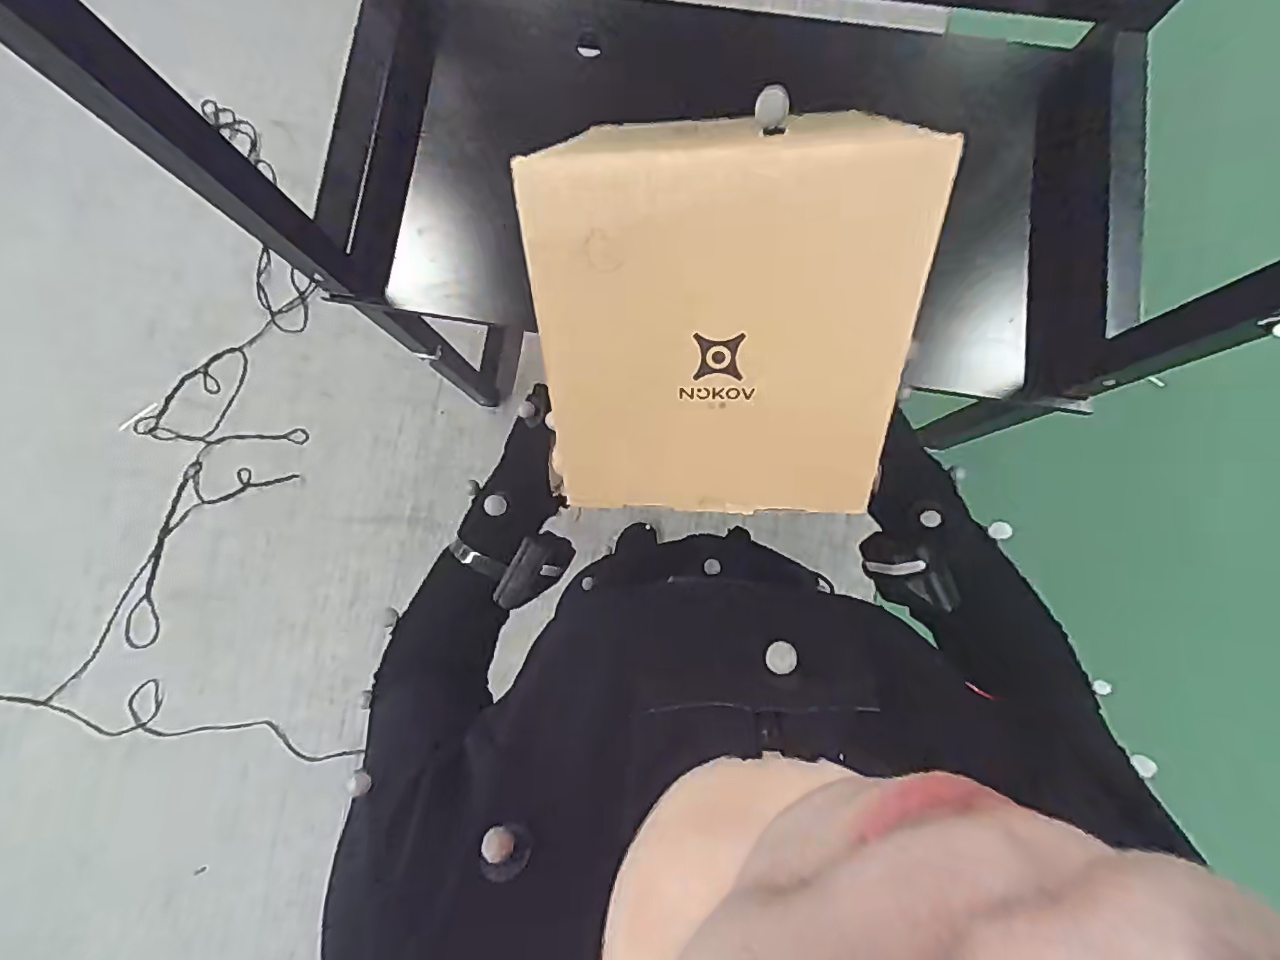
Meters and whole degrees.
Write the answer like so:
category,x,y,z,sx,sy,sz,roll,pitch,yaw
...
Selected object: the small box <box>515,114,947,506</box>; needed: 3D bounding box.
category,x,y,z,sx,sy,sz,roll,pitch,yaw
small box,0.043,-0.105,0.314,0.168,0.176,0.179,1,126,7
